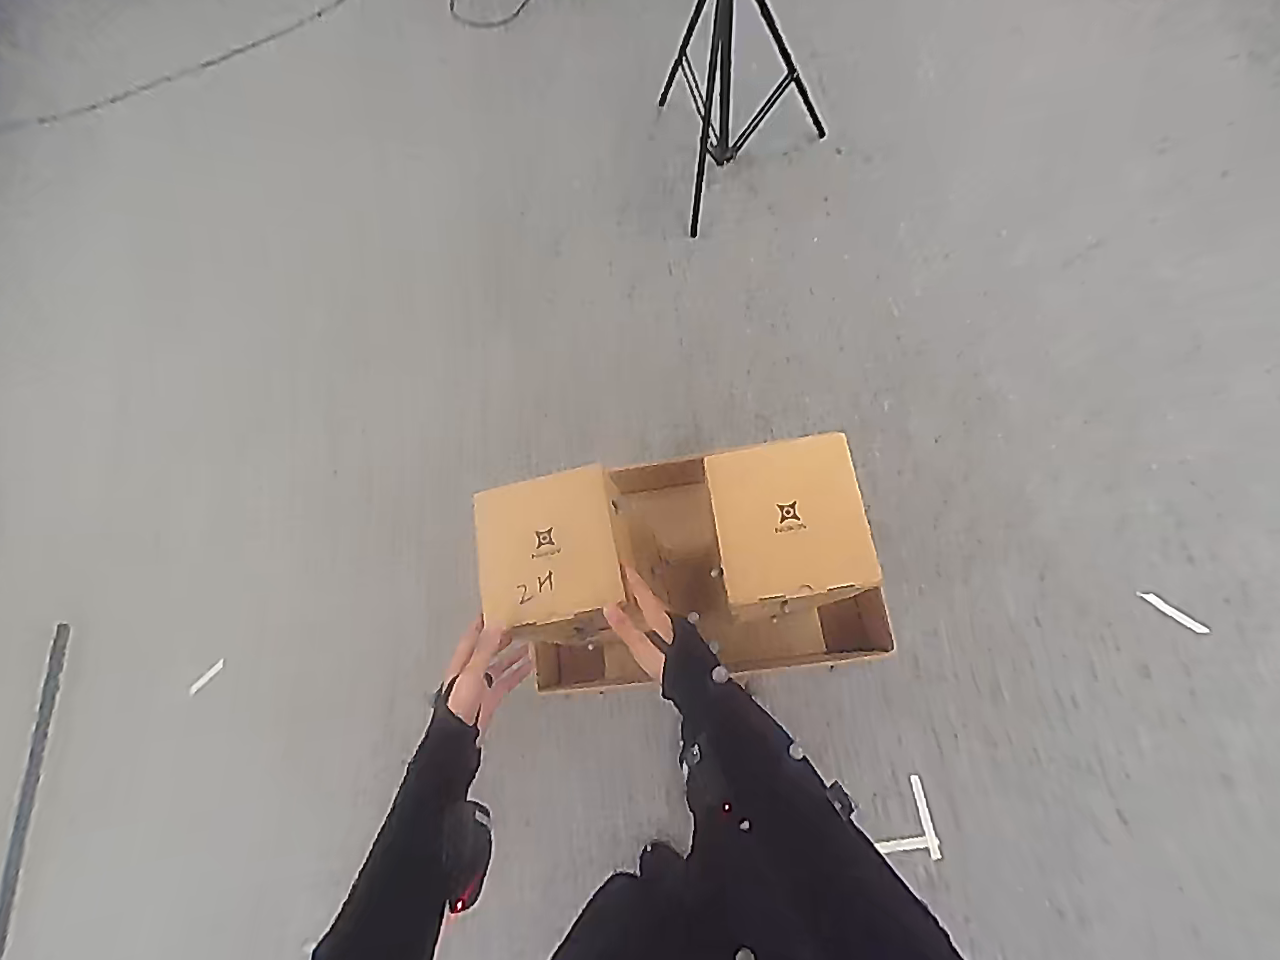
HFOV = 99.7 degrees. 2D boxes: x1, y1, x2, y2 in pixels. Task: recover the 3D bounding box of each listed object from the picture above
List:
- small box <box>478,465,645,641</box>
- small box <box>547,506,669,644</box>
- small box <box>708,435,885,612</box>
[{"bbox_3d":[-0.096,0.104,0.705,0.168,0.176,0.179,-13,69,5],"label":"small box"},{"bbox_3d":[-0.054,0.159,0.858,0.168,0.176,0.179,-12,70,5],"label":"small box"},{"bbox_3d":[0.179,0.064,0.677,0.168,0.176,0.179,-10,73,6],"label":"small box"}]
